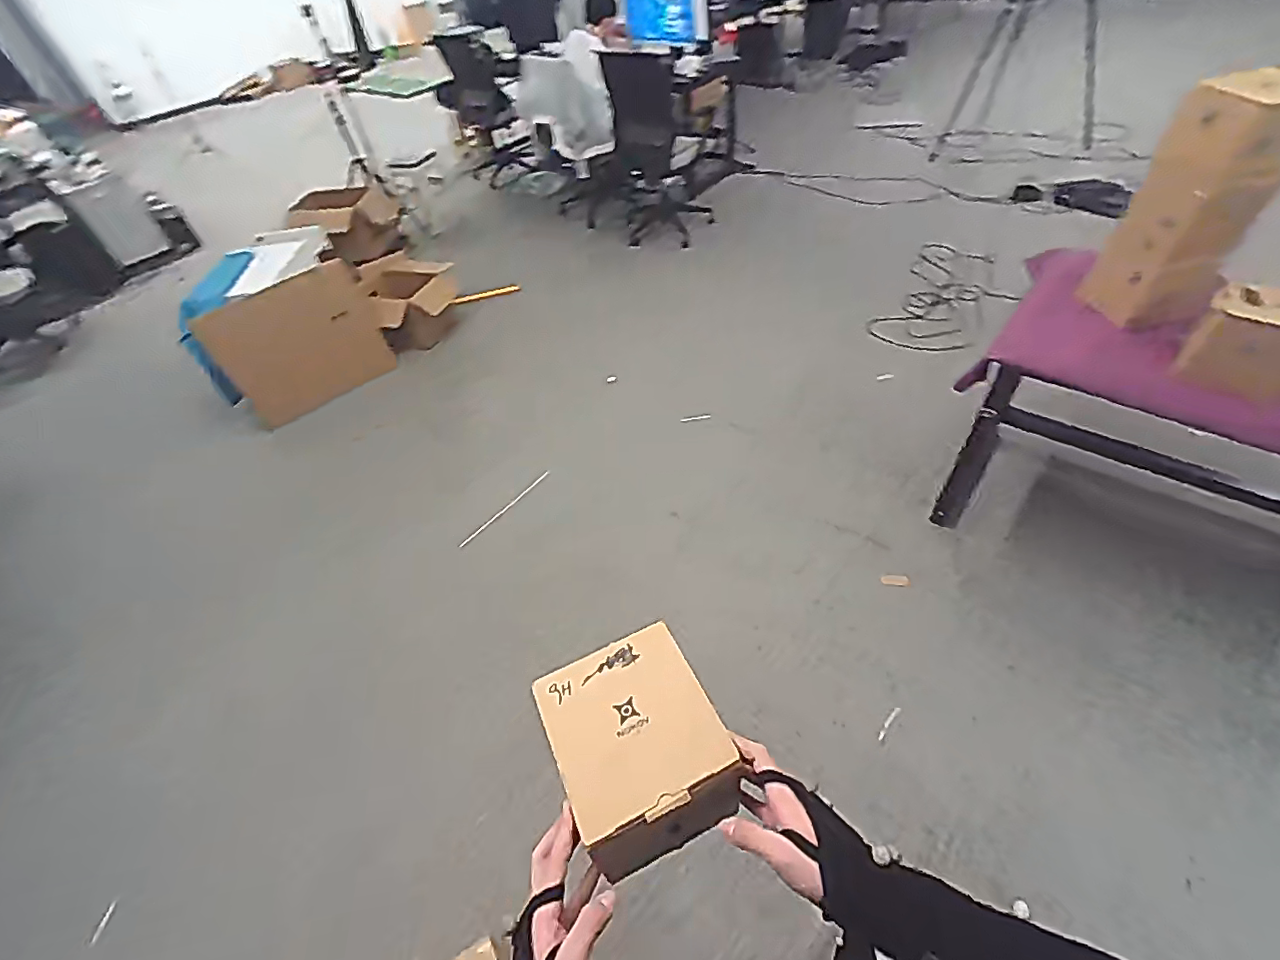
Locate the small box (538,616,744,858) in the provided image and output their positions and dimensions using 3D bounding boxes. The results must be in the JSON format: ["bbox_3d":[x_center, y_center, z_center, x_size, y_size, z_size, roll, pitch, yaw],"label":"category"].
[{"bbox_3d":[0.003,0.294,0.613,0.168,0.176,0.179,-21,47,-13],"label":"small box"}]

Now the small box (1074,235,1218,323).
[{"bbox_3d":[1.278,-0.518,1.382,0.168,0.176,0.179,-10,48,-1],"label":"small box"}]

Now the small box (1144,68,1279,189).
[{"bbox_3d":[1.246,-0.734,1.142,0.168,0.176,0.179,-12,49,-1],"label":"small box"}]

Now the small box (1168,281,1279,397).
[{"bbox_3d":[1.322,-0.308,1.188,0.179,0.176,0.168,27,57,28],"label":"small box"}]

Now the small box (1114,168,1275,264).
[{"bbox_3d":[1.267,-0.625,1.260,0.179,0.176,0.168,-10,50,0],"label":"small box"}]
